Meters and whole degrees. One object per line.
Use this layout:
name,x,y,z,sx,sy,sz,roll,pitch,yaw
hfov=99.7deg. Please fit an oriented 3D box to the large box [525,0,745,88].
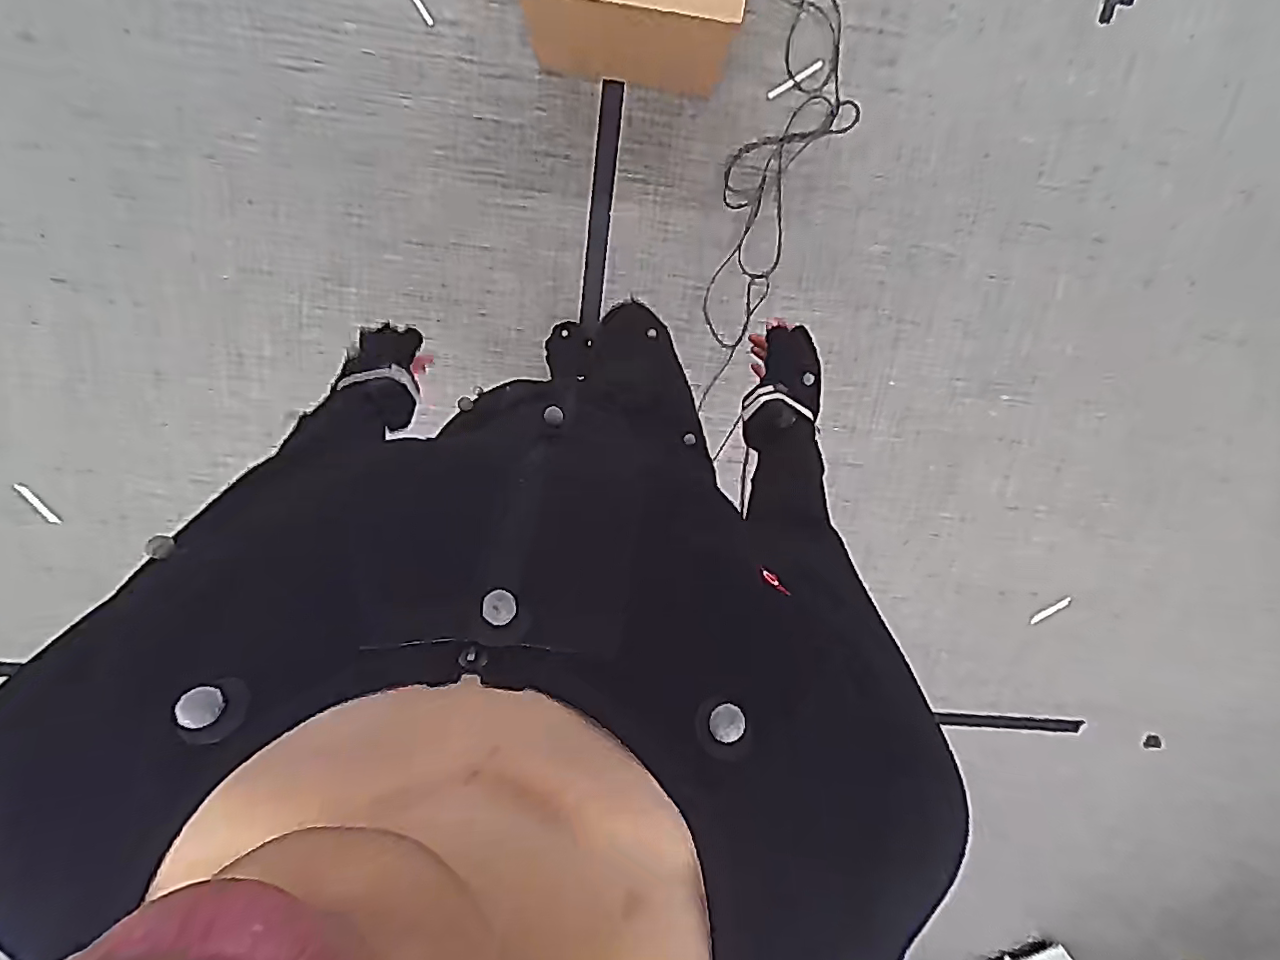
large box,-0.008,-1.030,1.056,0.408,0.320,0.320,6,105,-5
